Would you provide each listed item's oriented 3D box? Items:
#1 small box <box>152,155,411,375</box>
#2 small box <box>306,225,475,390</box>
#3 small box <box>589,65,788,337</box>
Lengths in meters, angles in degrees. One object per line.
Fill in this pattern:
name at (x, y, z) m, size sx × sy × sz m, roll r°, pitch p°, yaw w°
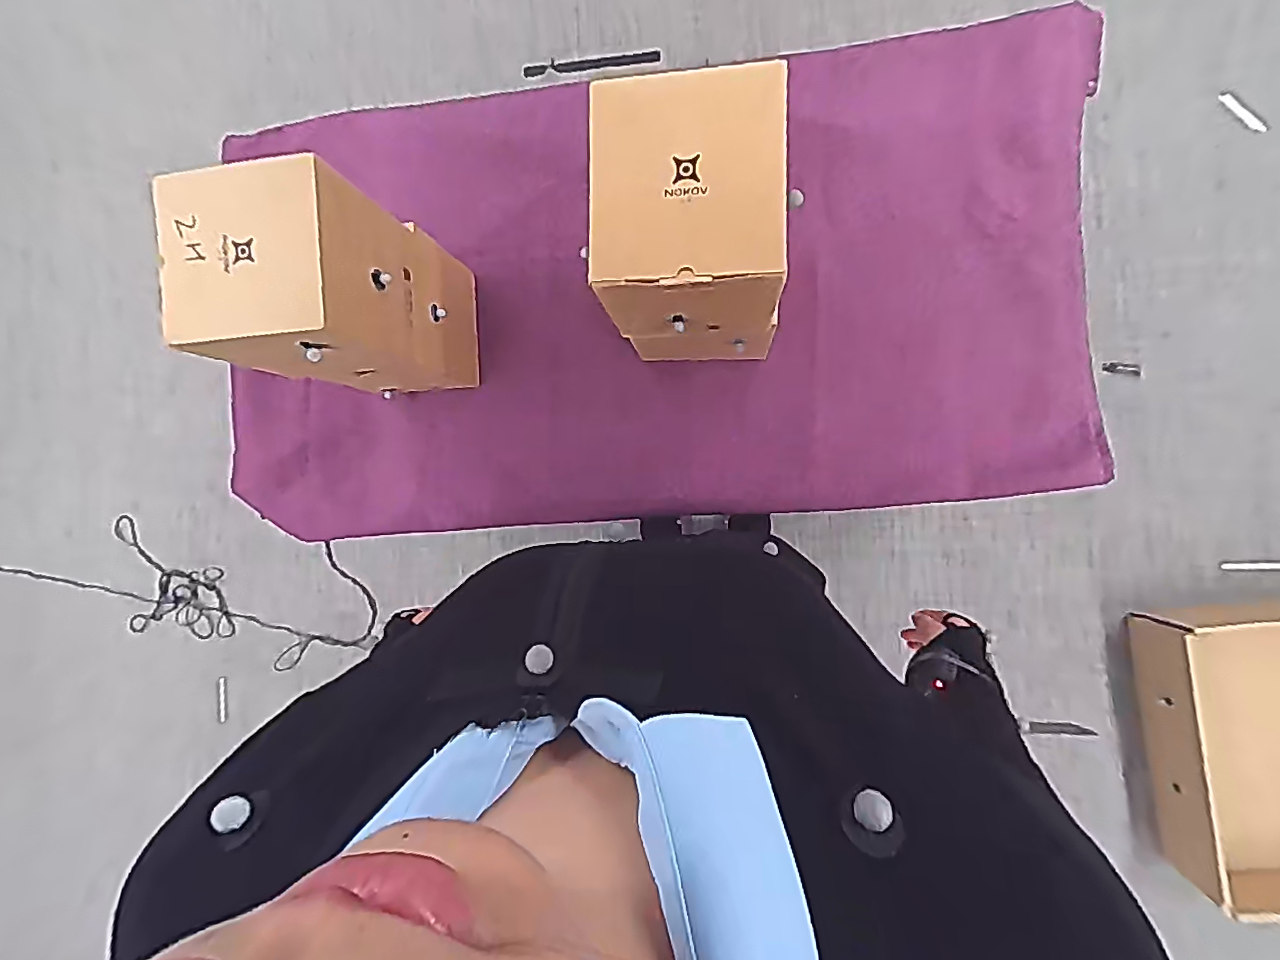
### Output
small box at (-0.366, -0.214, 0.585) m, size 0.179 × 0.176 × 0.168 m, roll -3°, pitch 89°, yaw 8°
small box at (-0.341, -0.222, 0.748) m, size 0.168 × 0.176 × 0.179 m, roll -3°, pitch 89°, yaw 8°
small box at (0.049, -0.251, 0.527) m, size 0.168 × 0.176 × 0.179 m, roll 0°, pitch 90°, yaw 8°
